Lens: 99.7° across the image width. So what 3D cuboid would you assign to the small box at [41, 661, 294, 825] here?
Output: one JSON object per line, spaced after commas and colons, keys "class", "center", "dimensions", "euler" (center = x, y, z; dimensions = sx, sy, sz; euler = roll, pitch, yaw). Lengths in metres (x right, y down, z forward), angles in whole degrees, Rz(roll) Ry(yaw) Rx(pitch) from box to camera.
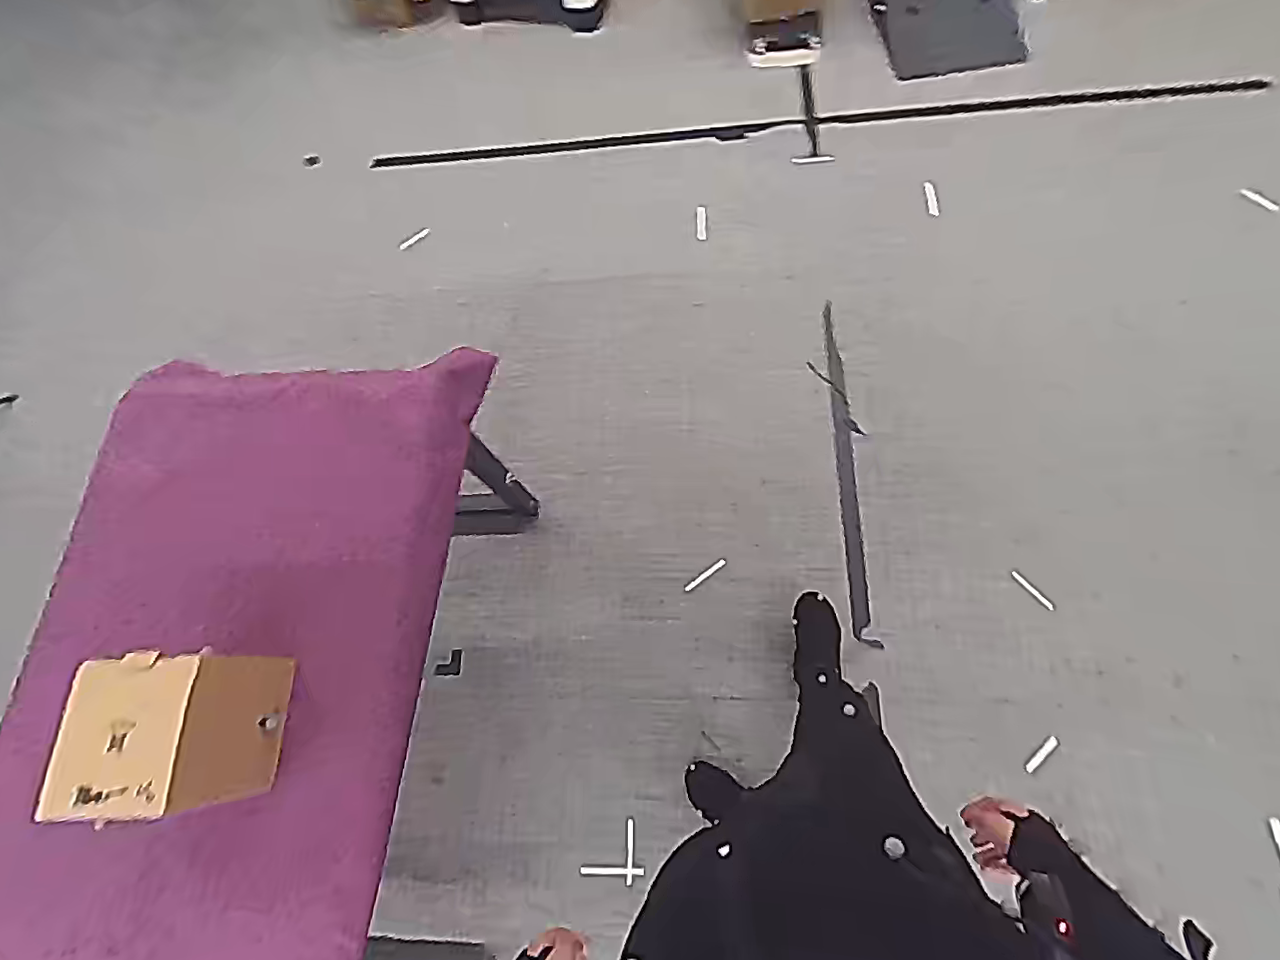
{"class": "small box", "center": [-0.600, 0.339, 0.716], "dimensions": [0.168, 0.176, 0.179], "euler": [-5, 69, 7]}
